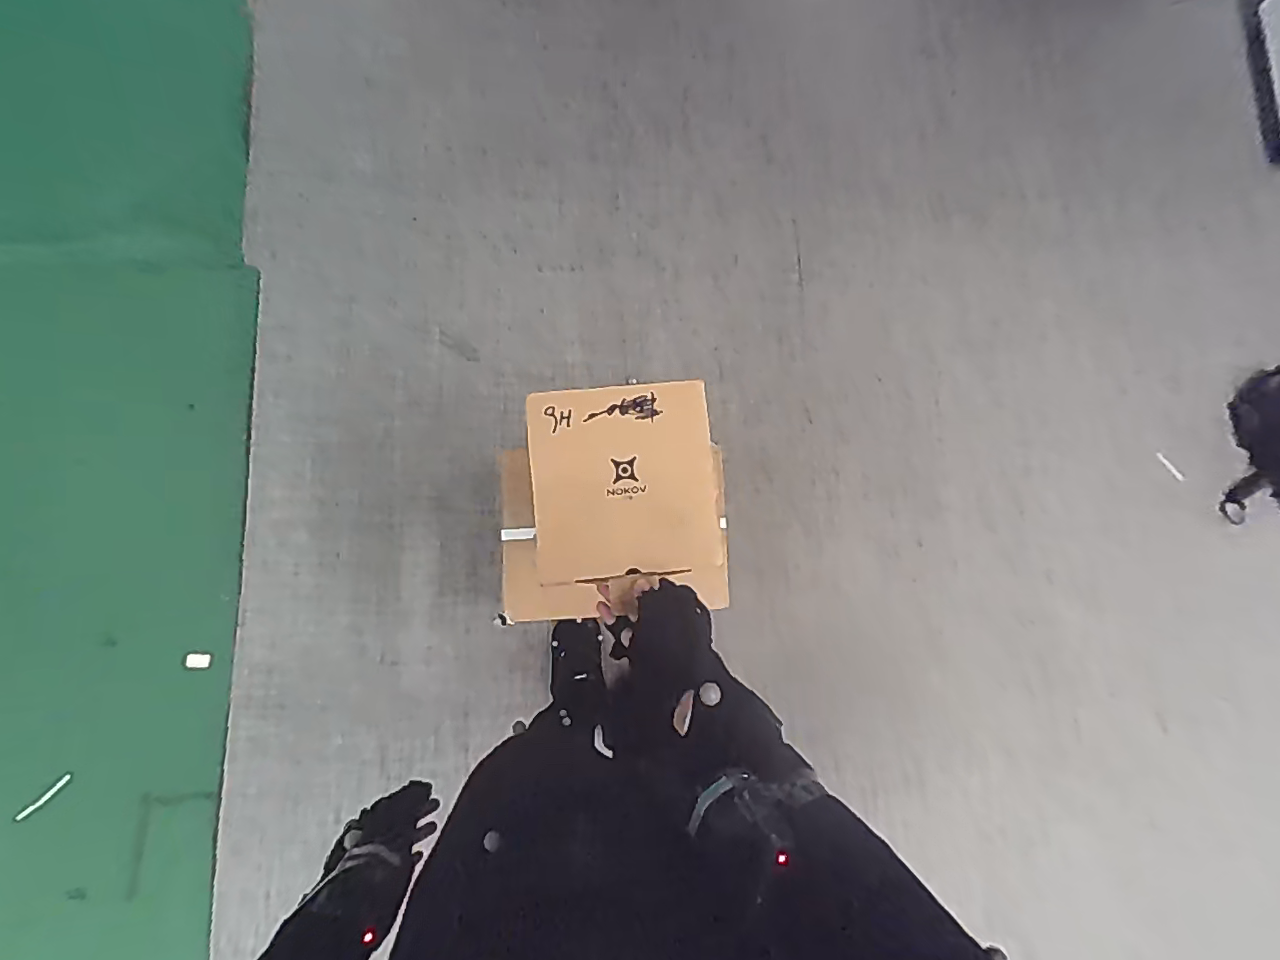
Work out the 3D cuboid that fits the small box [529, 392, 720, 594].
[{"bbox_3d":[-0.019,0.017,0.571,0.168,0.176,0.179,-5,84,-5],"label":"small box"}]
